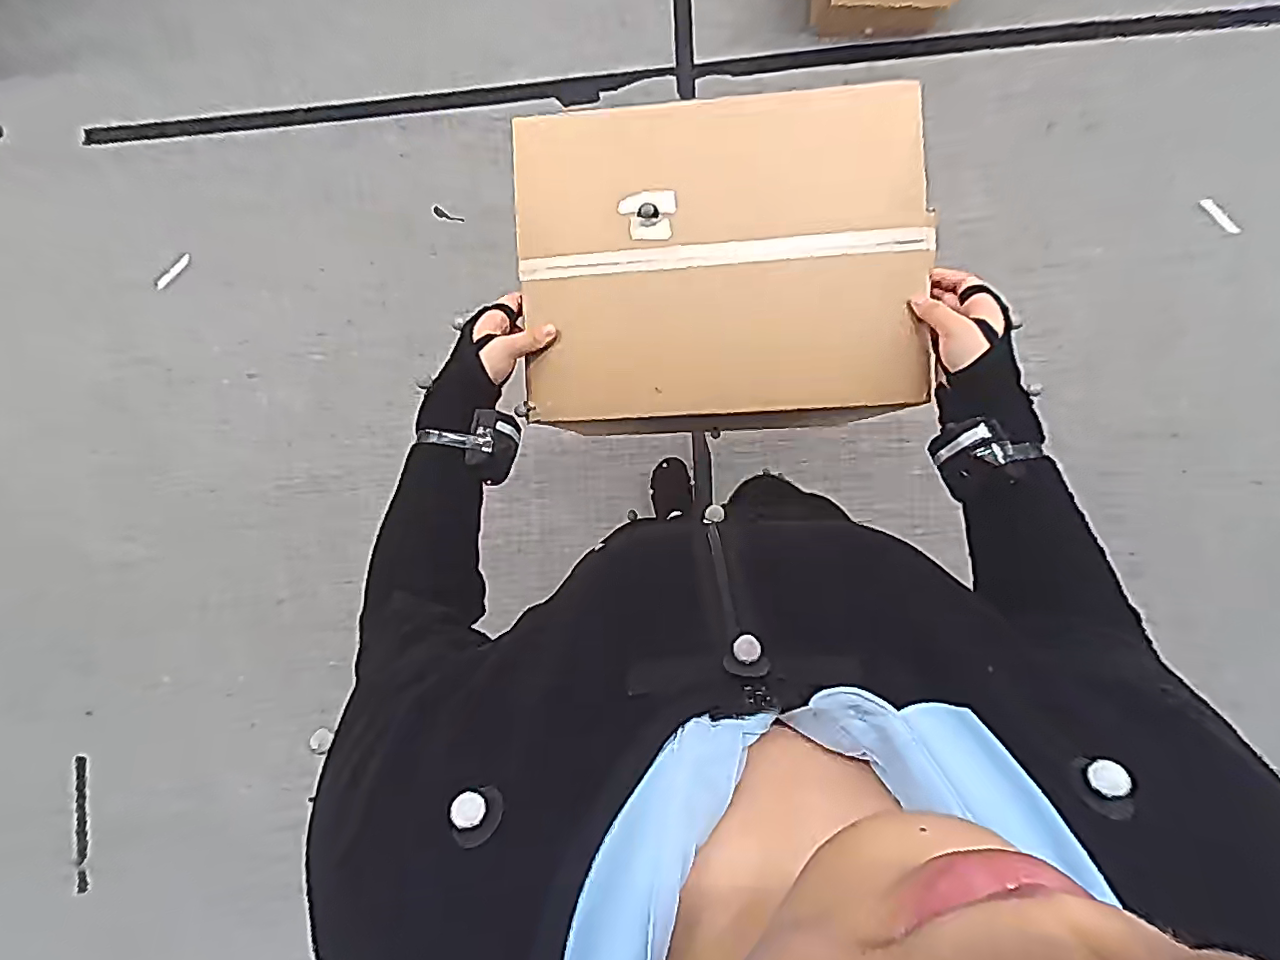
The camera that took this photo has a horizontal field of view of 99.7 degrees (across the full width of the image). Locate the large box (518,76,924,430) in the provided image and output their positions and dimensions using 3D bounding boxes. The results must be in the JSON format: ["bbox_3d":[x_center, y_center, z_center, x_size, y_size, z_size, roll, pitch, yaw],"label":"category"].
[{"bbox_3d":[0.093,-0.236,0.698,0.408,0.320,0.320,-3,91,6],"label":"large box"}]
